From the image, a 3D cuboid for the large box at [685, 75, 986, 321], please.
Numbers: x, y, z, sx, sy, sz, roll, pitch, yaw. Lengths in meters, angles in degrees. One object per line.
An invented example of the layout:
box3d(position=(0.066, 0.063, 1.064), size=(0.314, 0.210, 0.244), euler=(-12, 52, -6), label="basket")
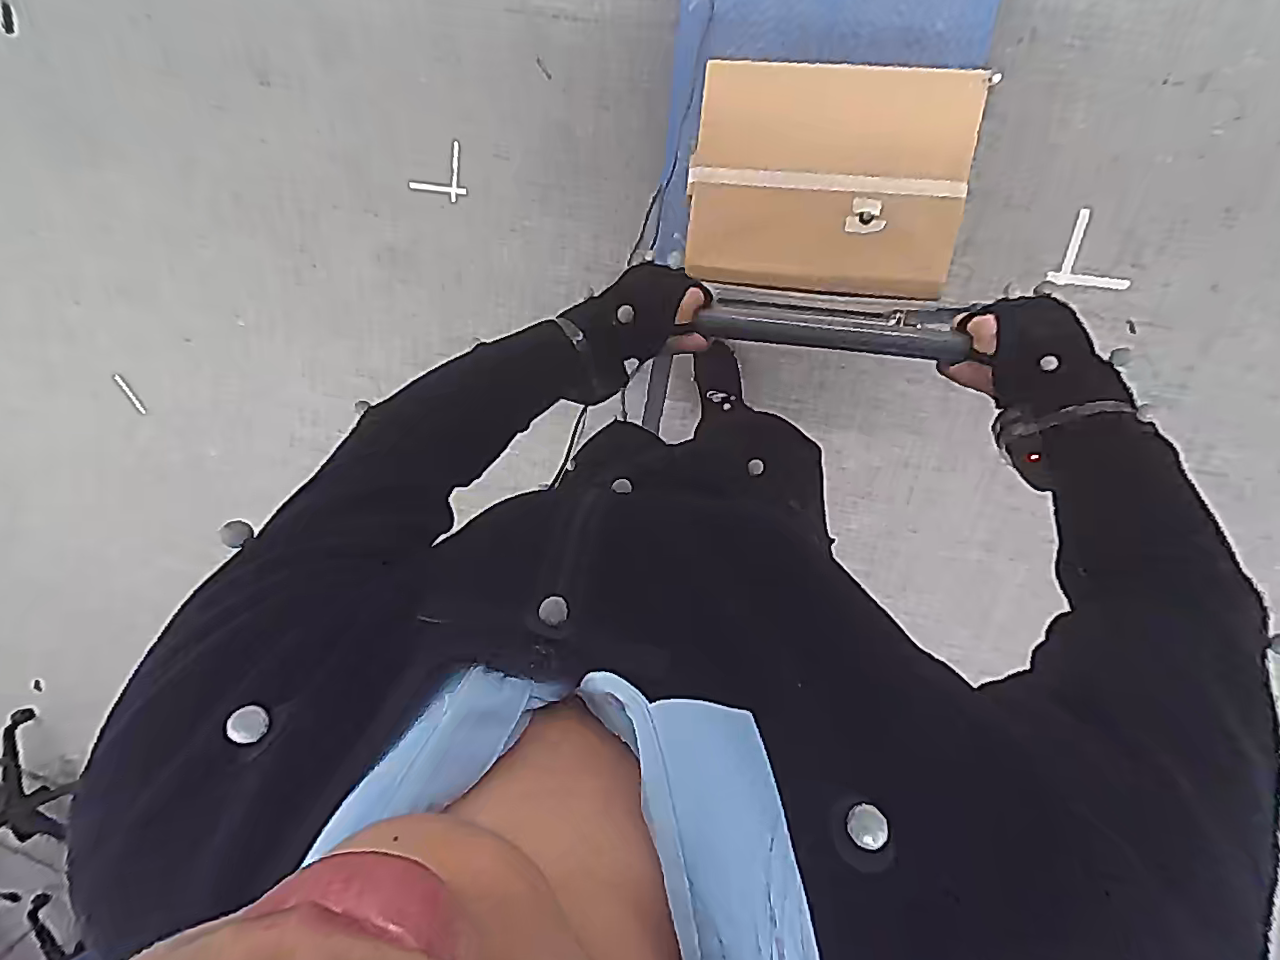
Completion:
box3d(position=(0.299, -0.464, 0.962), size=(0.408, 0.320, 0.320), euler=(8, 105, 6), label="large box")
